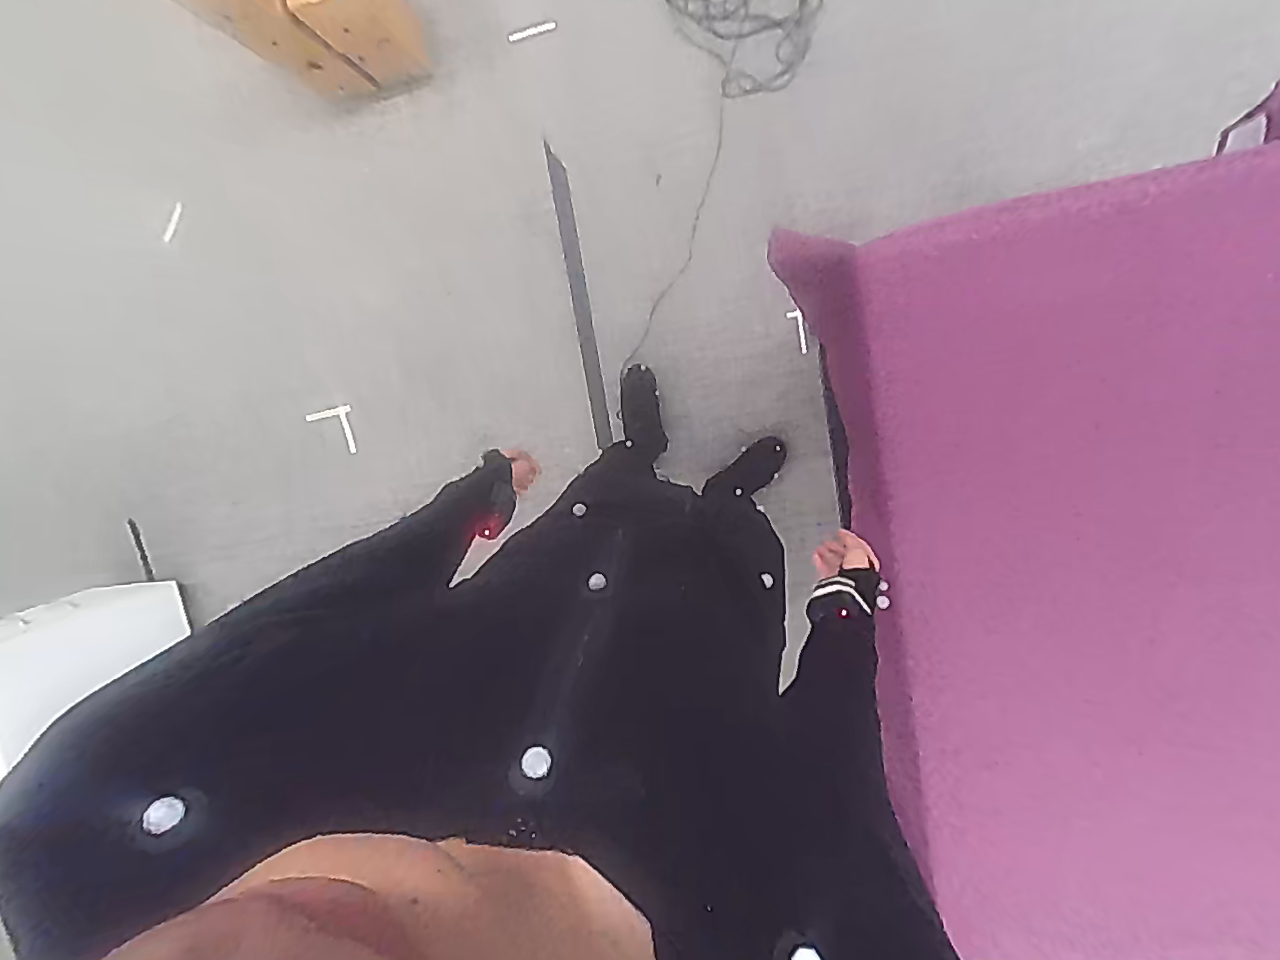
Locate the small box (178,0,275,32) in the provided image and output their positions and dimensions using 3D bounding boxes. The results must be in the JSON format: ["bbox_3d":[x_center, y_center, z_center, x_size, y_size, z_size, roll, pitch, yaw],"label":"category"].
[{"bbox_3d":[-0.938,-1.130,1.173,0.168,0.176,0.179,0,100,12],"label":"small box"}]
